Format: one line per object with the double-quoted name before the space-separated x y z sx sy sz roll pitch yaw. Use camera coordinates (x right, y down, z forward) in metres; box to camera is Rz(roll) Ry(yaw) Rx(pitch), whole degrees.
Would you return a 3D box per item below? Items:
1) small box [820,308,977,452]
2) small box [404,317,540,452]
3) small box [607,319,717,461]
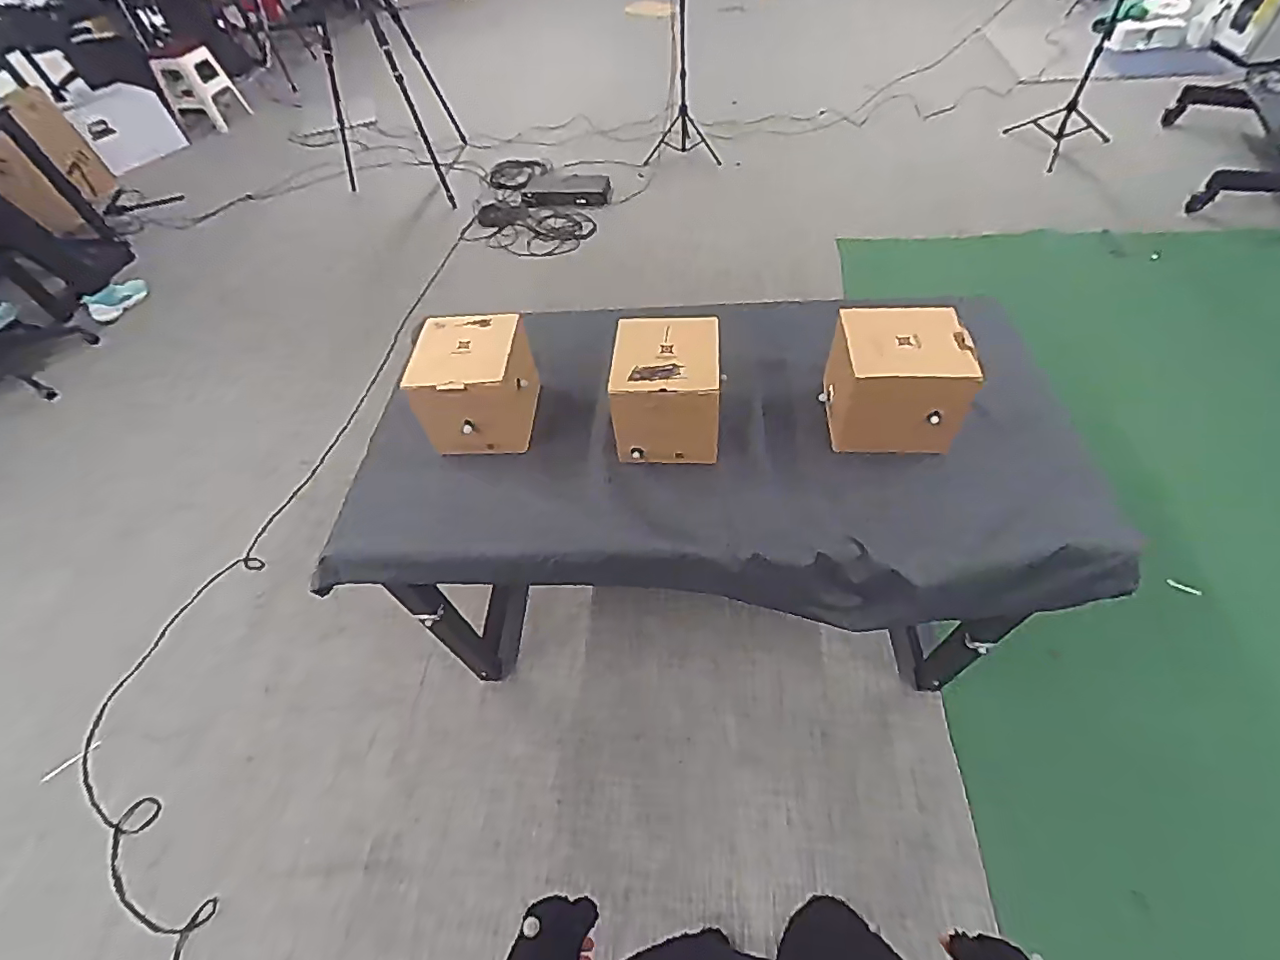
"small box" 0.405 -0.158 0.881 0.179 0.176 0.168 -1 52 8
"small box" -0.282 -0.161 0.957 0.168 0.176 0.179 -2 54 5
"small box" 0.045 -0.146 0.909 0.168 0.176 0.179 1 52 7
